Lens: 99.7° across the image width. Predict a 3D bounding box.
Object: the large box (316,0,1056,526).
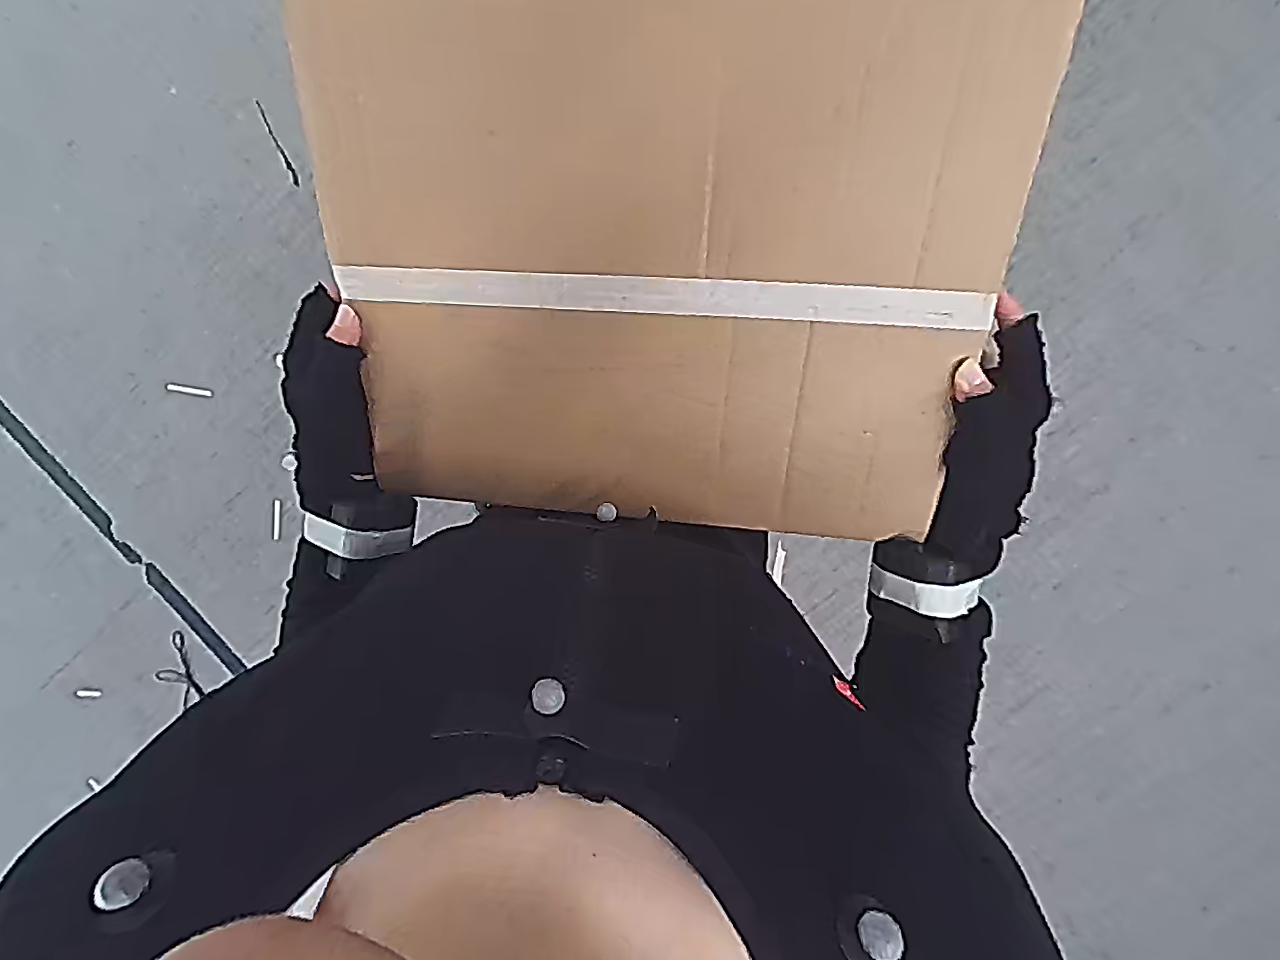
[{"bbox_3d":[0.024,-0.179,0.483,0.408,0.320,0.320,5,117,6],"label":"large box"}]
